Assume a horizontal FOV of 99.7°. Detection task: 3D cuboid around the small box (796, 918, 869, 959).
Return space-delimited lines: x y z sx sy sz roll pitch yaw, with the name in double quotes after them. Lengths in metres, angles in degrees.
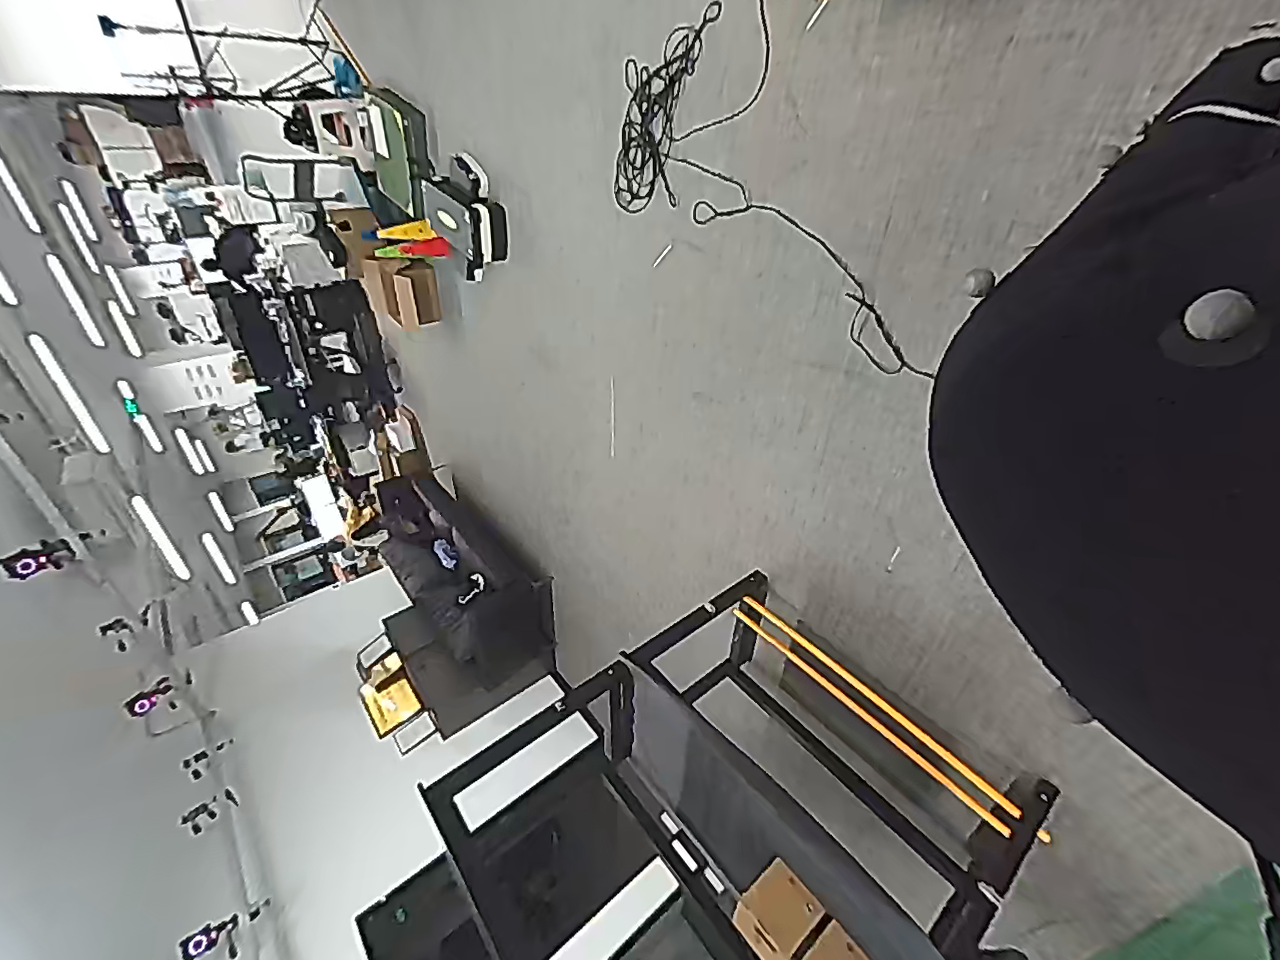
0.496 1.287 1.392 0.168 0.176 0.179 39 139 38 "small box"
